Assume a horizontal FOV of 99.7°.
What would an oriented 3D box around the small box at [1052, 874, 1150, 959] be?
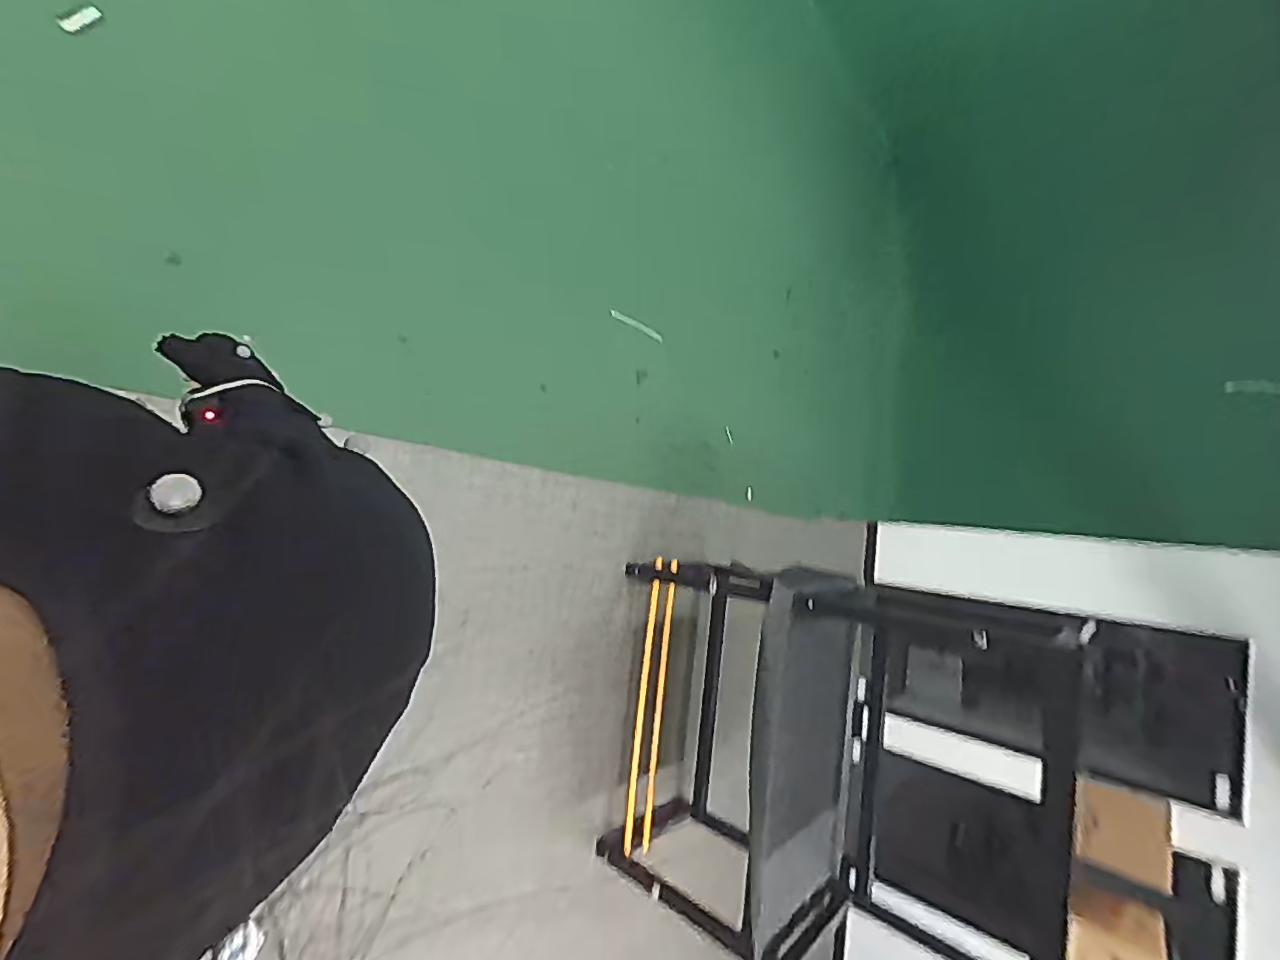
[{"bbox_3d":[1.104,1.107,1.299,0.179,0.176,0.168,2,91,-49],"label":"small box"}]
